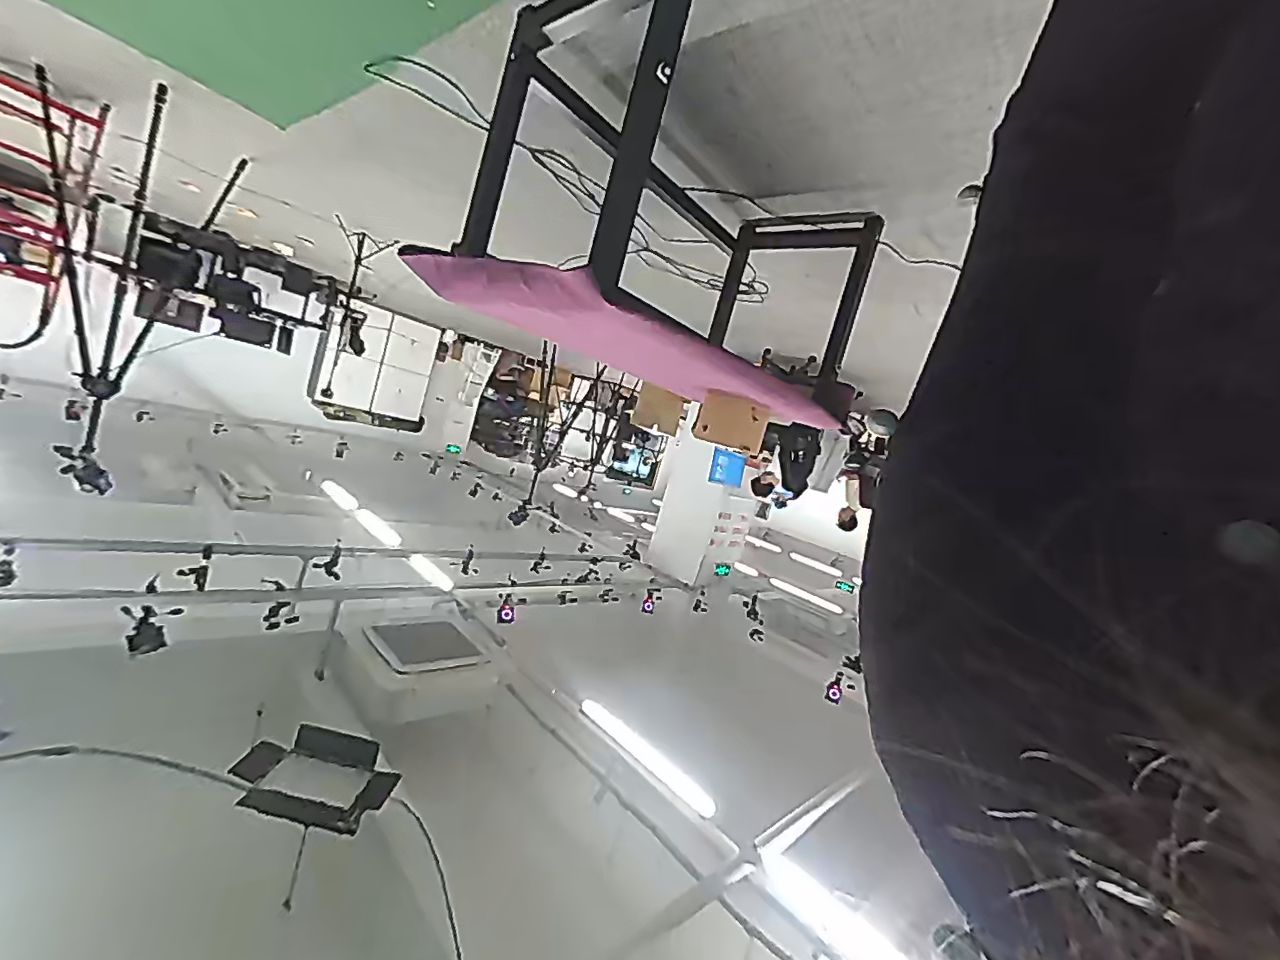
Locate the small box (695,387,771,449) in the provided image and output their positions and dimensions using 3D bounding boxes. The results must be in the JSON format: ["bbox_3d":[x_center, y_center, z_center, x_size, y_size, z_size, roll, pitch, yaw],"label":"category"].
[{"bbox_3d":[0.327,-0.220,1.887,0.168,0.176,0.179,11,-173,-43],"label":"small box"}]
